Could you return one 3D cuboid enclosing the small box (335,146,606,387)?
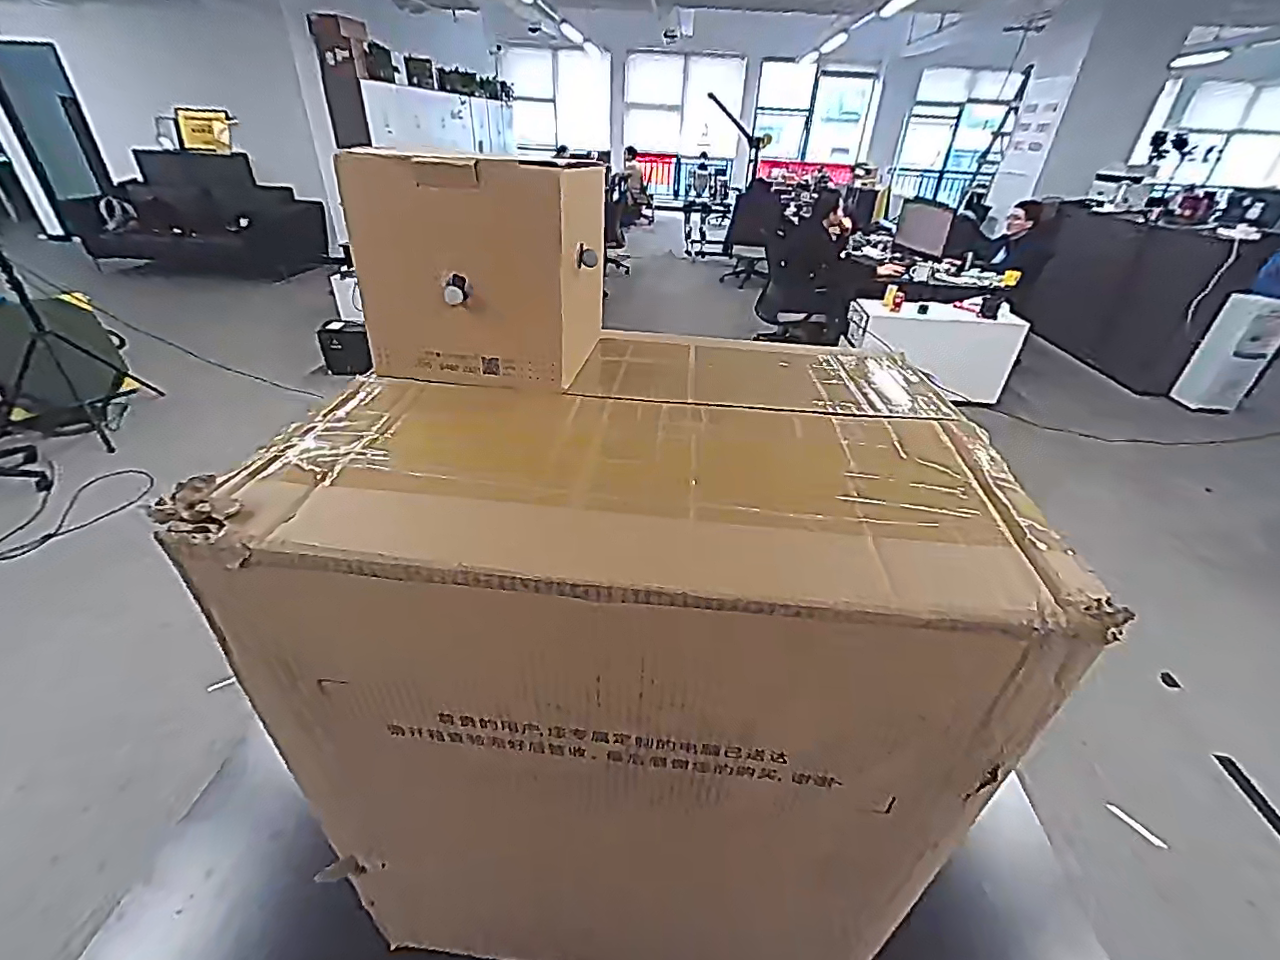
[{"bbox_3d":[-0.125,-0.192,0.479,0.168,0.176,0.179,6,32,4],"label":"small box"}]
